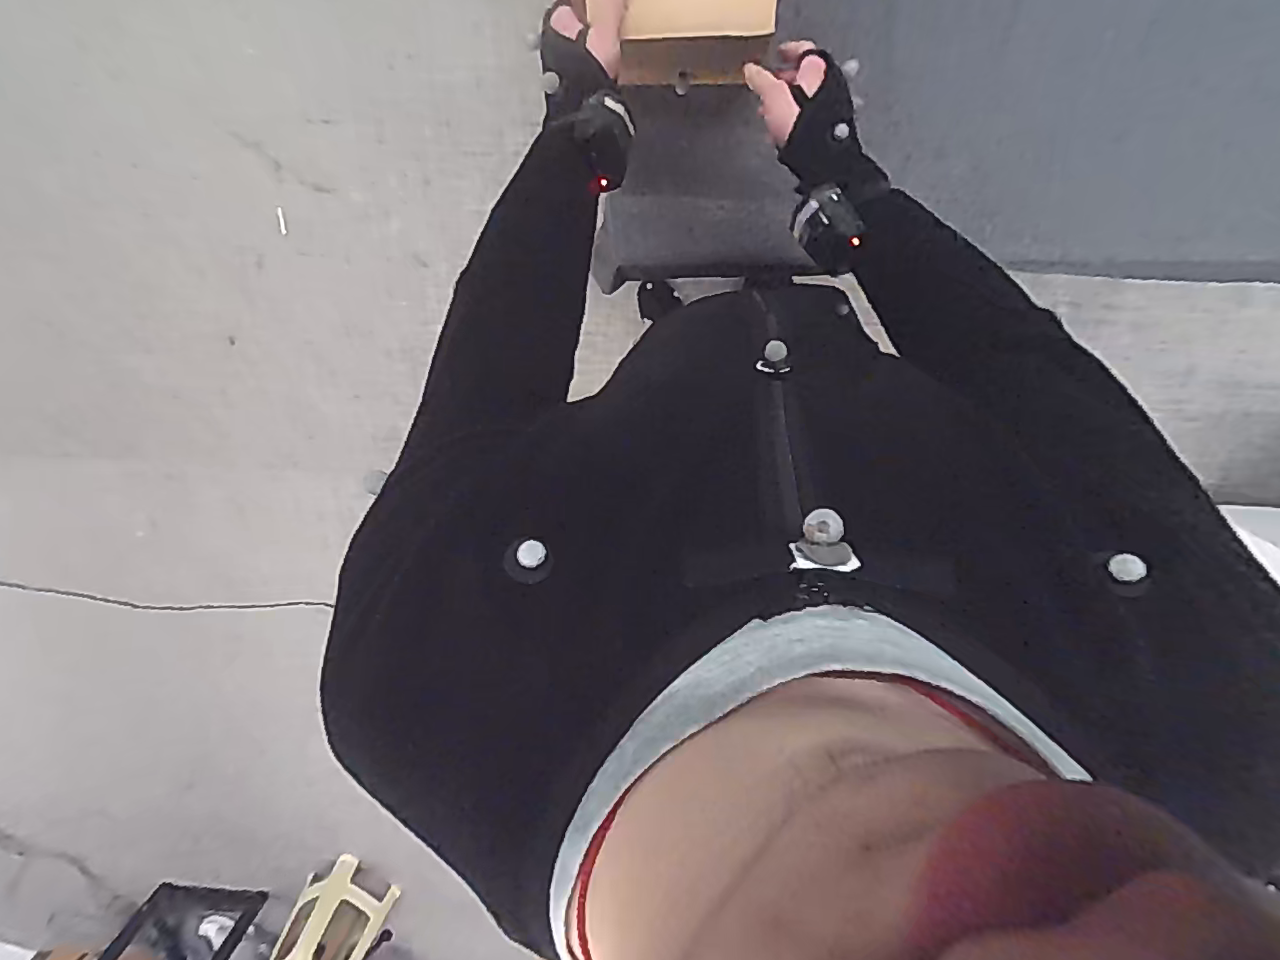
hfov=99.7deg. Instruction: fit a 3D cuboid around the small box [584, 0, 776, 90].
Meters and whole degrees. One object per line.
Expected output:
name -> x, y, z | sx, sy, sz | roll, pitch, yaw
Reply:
small box -> 0.041, -0.509, 0.539 | 0.179, 0.176, 0.168 | 2, 114, 4
